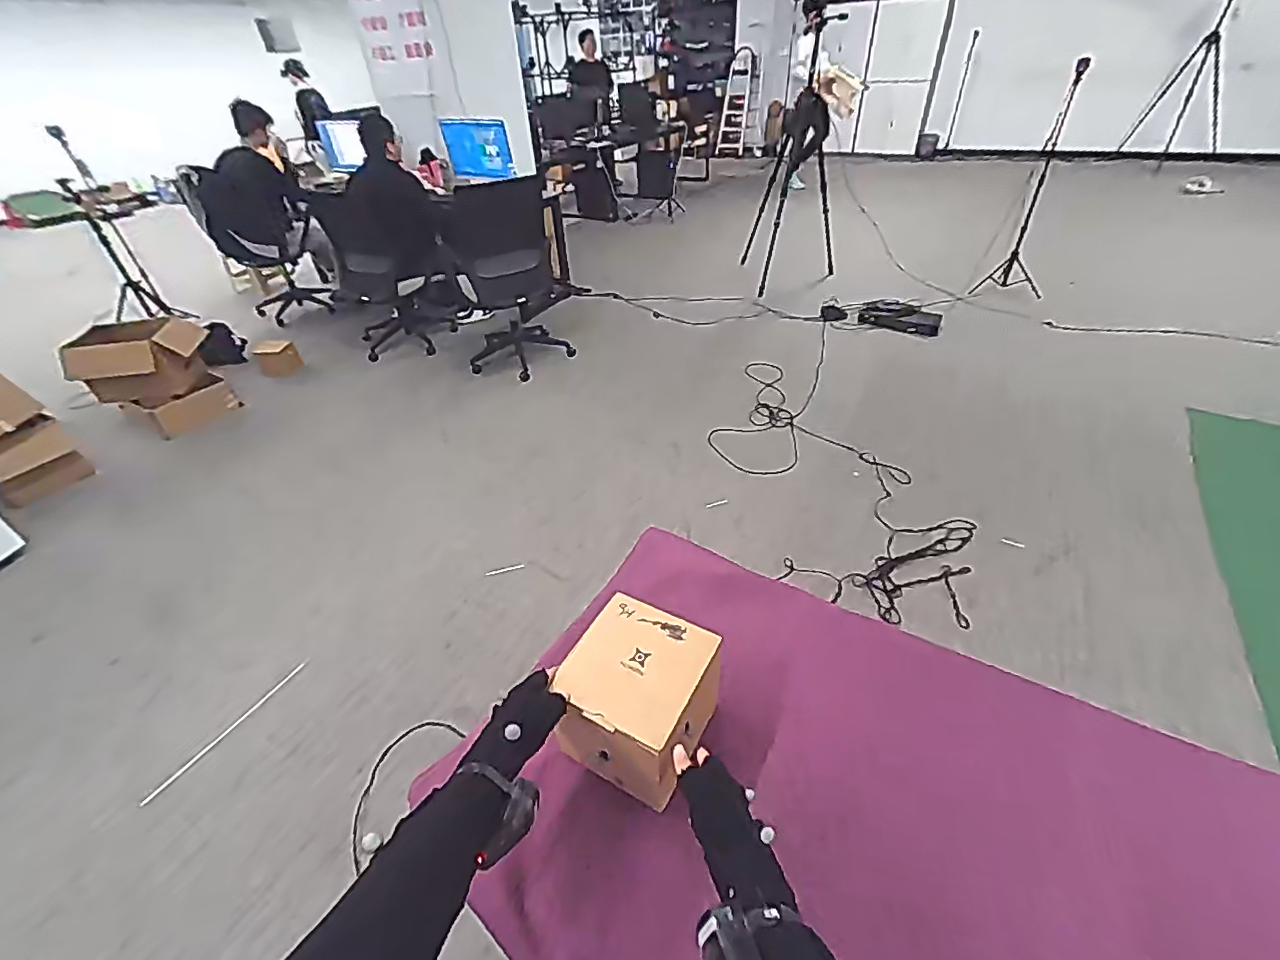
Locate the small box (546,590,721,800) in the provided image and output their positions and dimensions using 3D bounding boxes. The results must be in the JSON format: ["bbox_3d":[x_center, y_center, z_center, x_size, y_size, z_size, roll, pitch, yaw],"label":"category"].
[{"bbox_3d":[0.000,0.290,0.734,0.168,0.176,0.179,19,44,25],"label":"small box"}]
